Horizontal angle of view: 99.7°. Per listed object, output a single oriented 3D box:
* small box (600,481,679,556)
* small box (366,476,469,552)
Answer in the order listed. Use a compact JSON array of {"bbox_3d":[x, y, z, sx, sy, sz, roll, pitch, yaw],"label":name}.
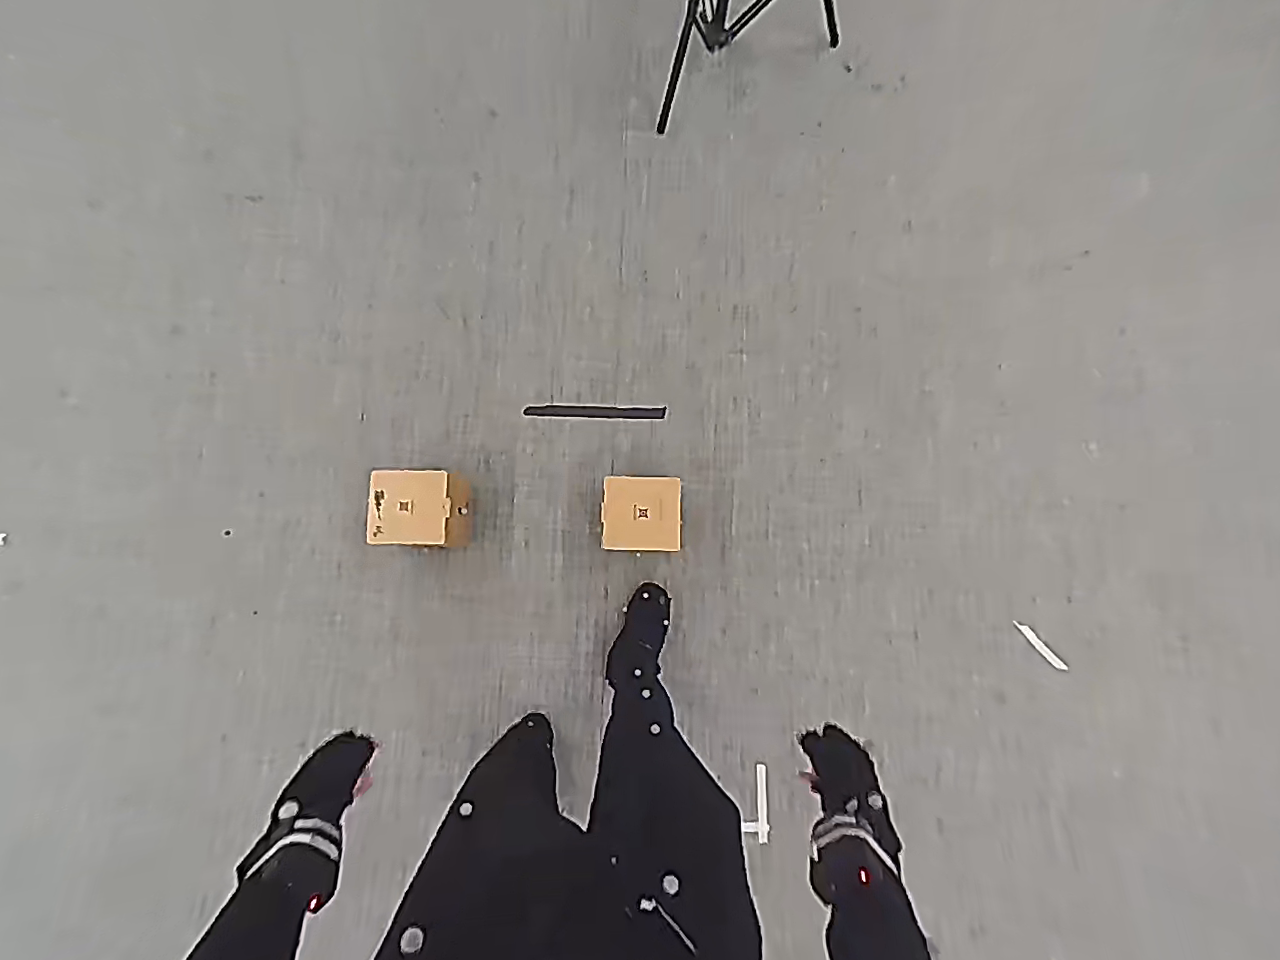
[{"bbox_3d":[-0.002,0.094,1.282,0.179,0.176,0.168,1,83,-2],"label":"small box"},{"bbox_3d":[-0.514,0.084,1.273,0.179,0.176,0.168,1,82,-1],"label":"small box"}]
